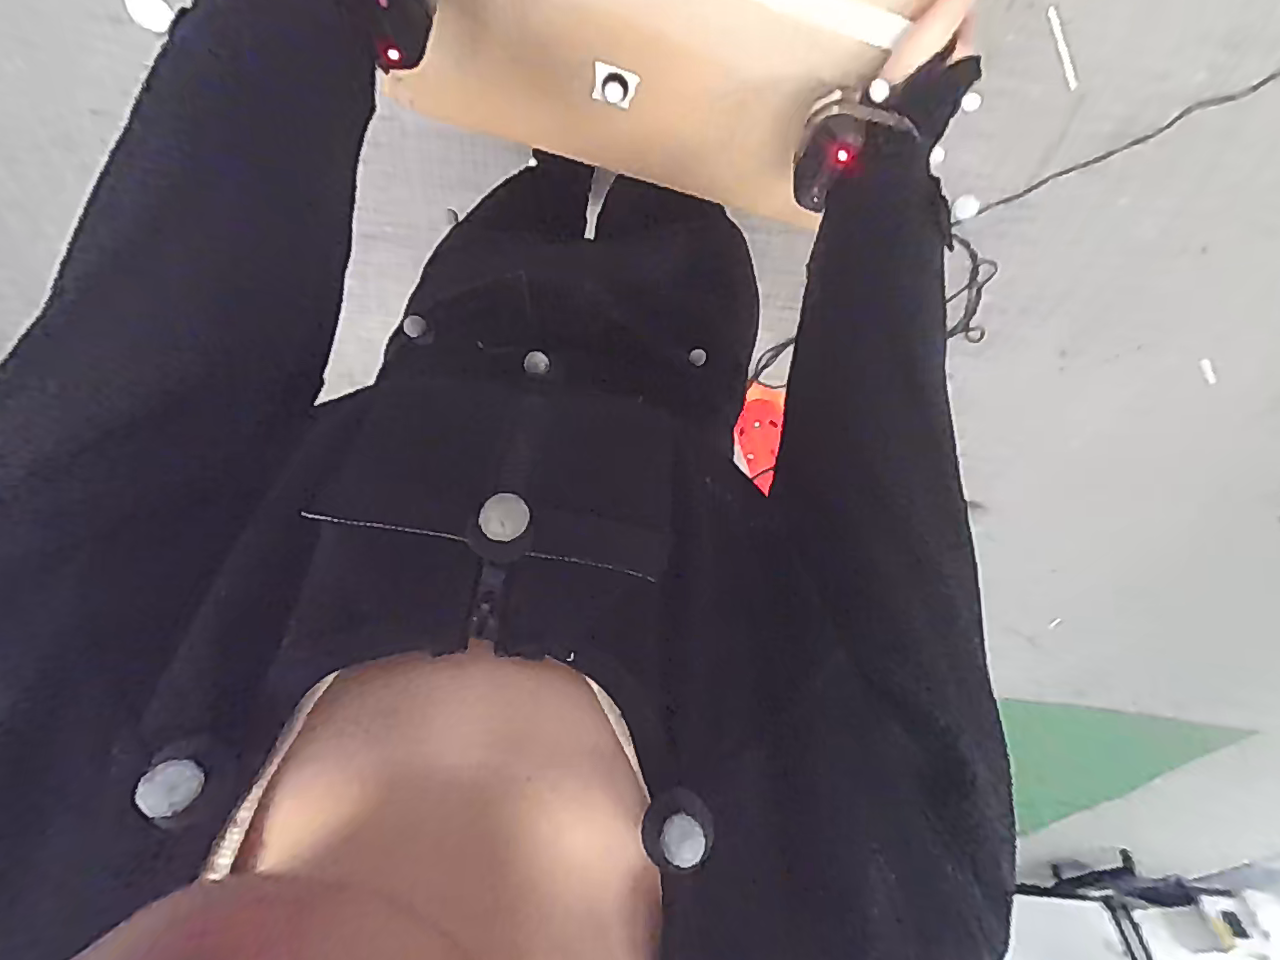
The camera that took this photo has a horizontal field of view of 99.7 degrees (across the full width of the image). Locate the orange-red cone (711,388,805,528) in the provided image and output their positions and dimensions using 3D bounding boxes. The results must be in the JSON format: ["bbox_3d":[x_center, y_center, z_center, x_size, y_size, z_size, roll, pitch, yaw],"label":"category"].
[{"bbox_3d":[0.302,-0.028,1.320,0.199,0.360,0.198,21,132,-15],"label":"orange-red cone"}]
